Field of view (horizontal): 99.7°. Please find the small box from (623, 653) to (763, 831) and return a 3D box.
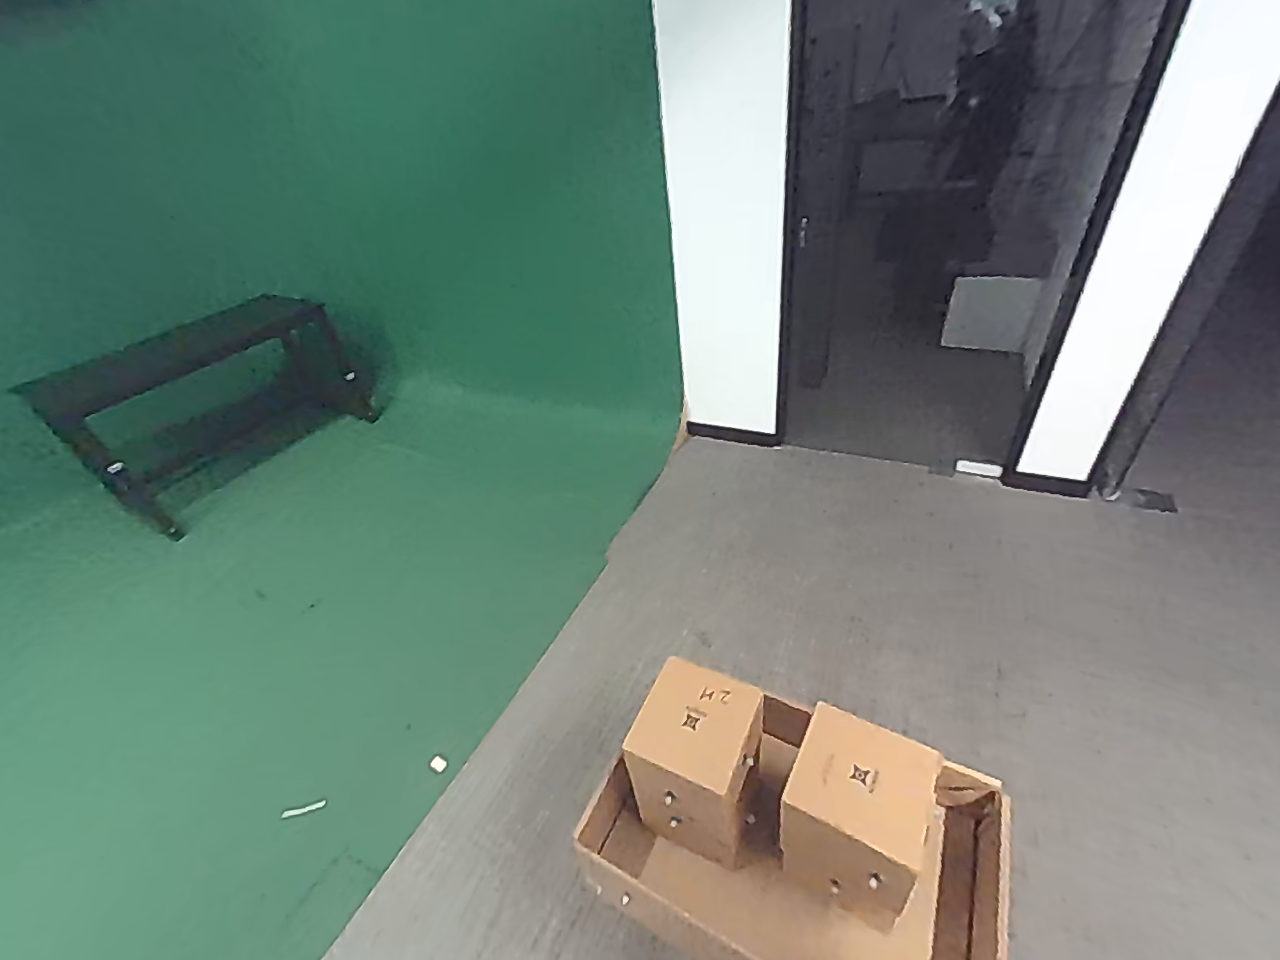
[{"bbox_3d":[0.096,0.421,0.873,0.168,0.176,0.179,13,42,27],"label":"small box"}]
